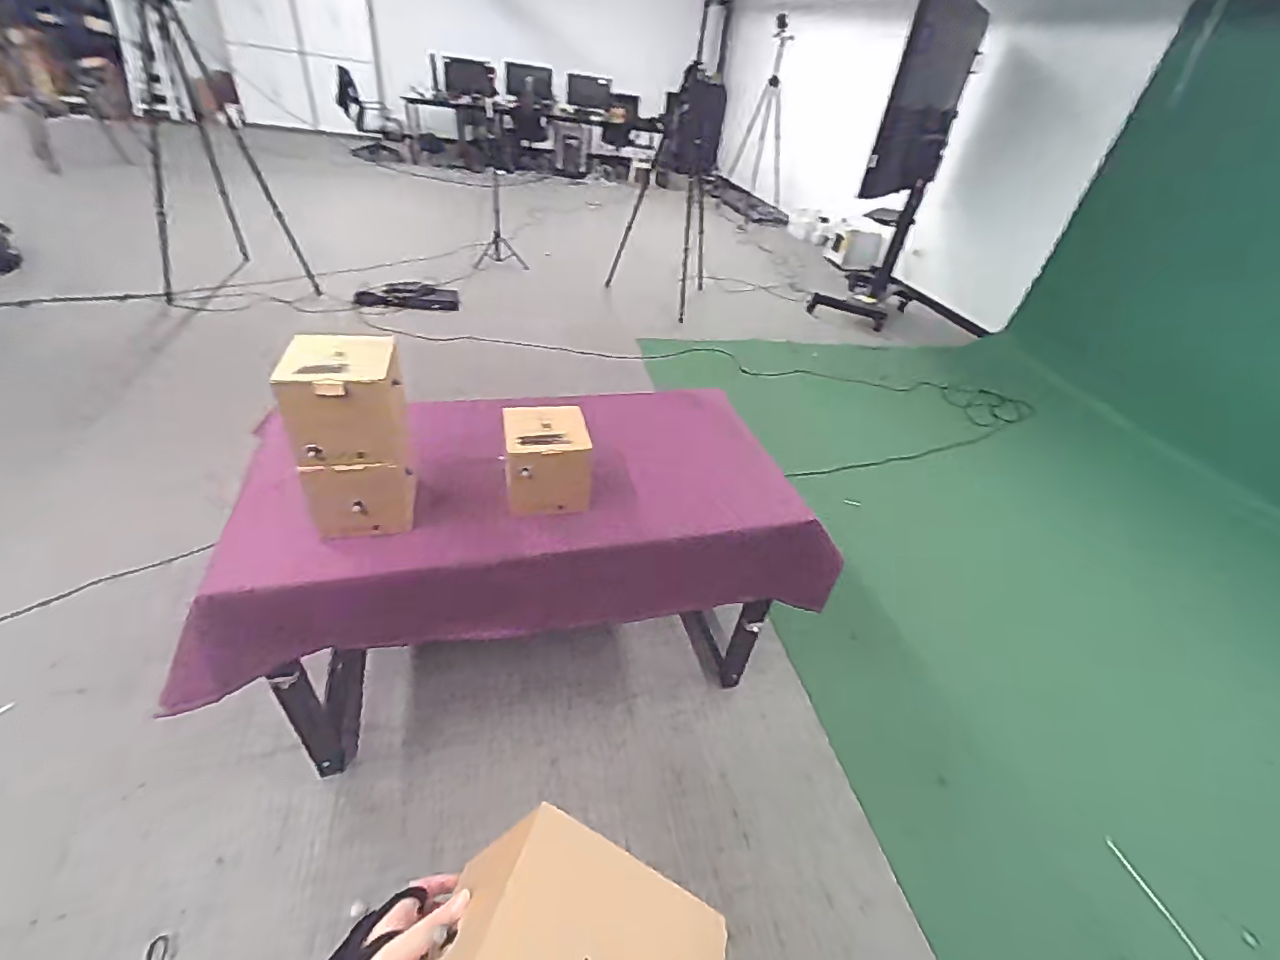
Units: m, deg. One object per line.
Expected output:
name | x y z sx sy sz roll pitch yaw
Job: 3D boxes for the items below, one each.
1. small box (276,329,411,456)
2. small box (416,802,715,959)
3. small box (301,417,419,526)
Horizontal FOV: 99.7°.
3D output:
small box | -0.512 -0.154 0.964 0.168 0.176 0.179 -2 38 -15
small box | -0.075 0.383 0.392 0.179 0.176 0.168 36 34 -5
small box | -0.534 -0.021 1.059 0.168 0.176 0.179 -2 40 -15
